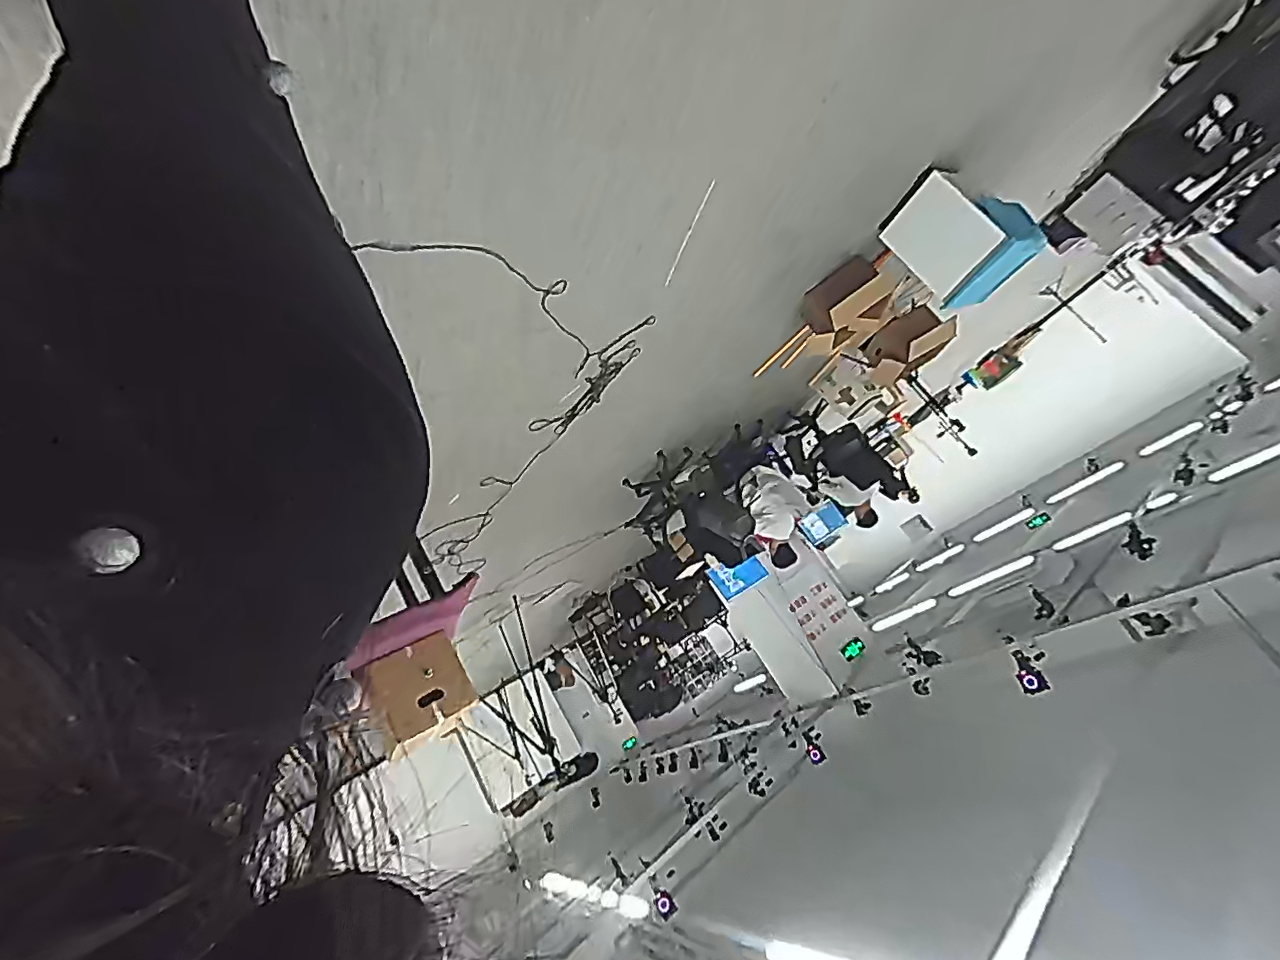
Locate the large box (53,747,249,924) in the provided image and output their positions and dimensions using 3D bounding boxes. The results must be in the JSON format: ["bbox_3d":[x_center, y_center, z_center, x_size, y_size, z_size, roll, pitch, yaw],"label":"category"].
[{"bbox_3d":[-1.473,1.073,1.662,0.320,0.320,0.408,-25,160,-35],"label":"large box"}]
